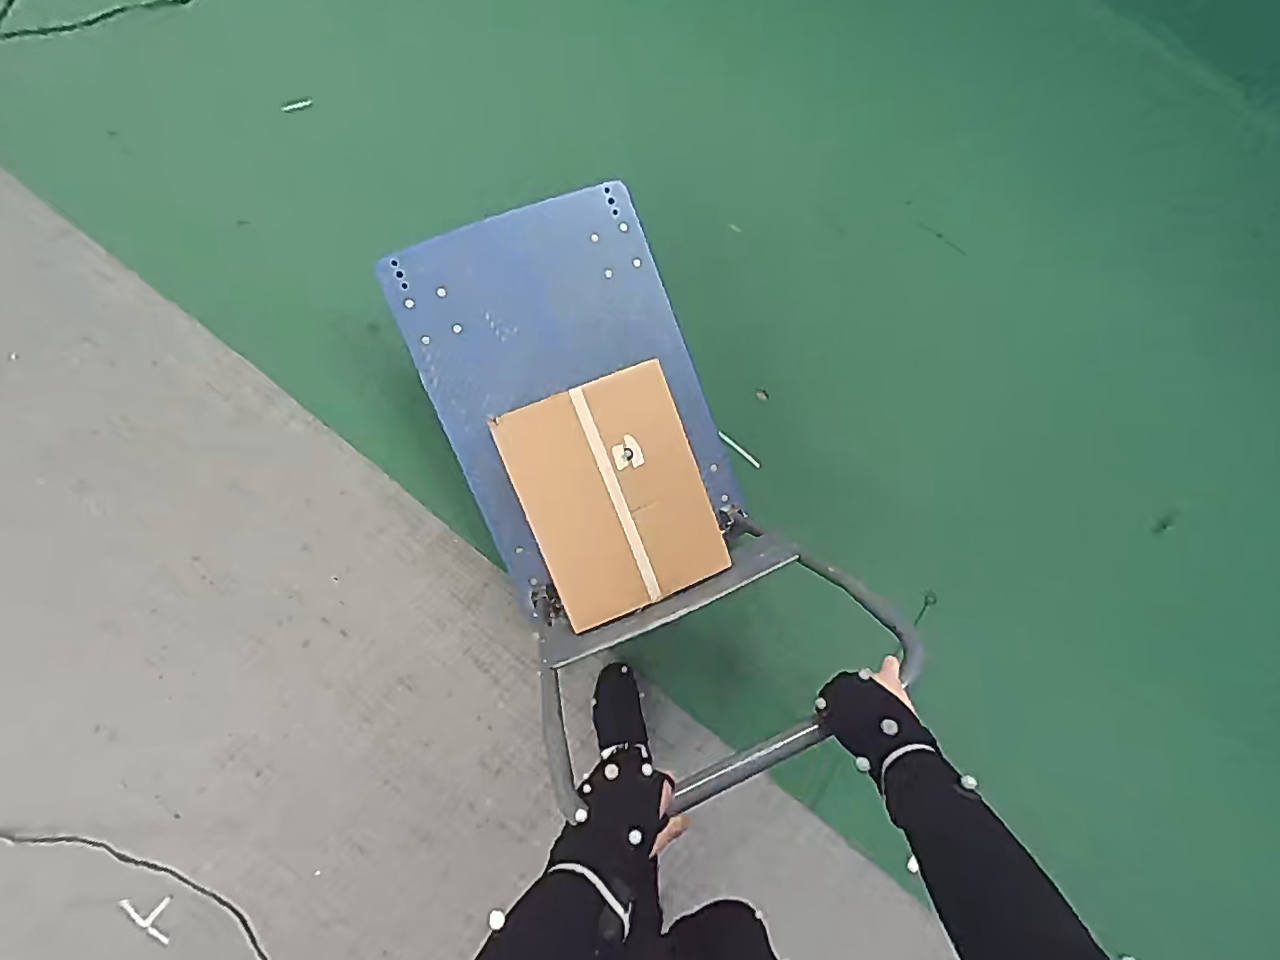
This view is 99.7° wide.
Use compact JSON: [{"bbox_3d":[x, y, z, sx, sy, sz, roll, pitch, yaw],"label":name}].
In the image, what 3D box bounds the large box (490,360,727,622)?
[{"bbox_3d":[-0.069,0.012,1.121,0.320,0.320,0.408,-23,98,-8],"label":"large box"}]
